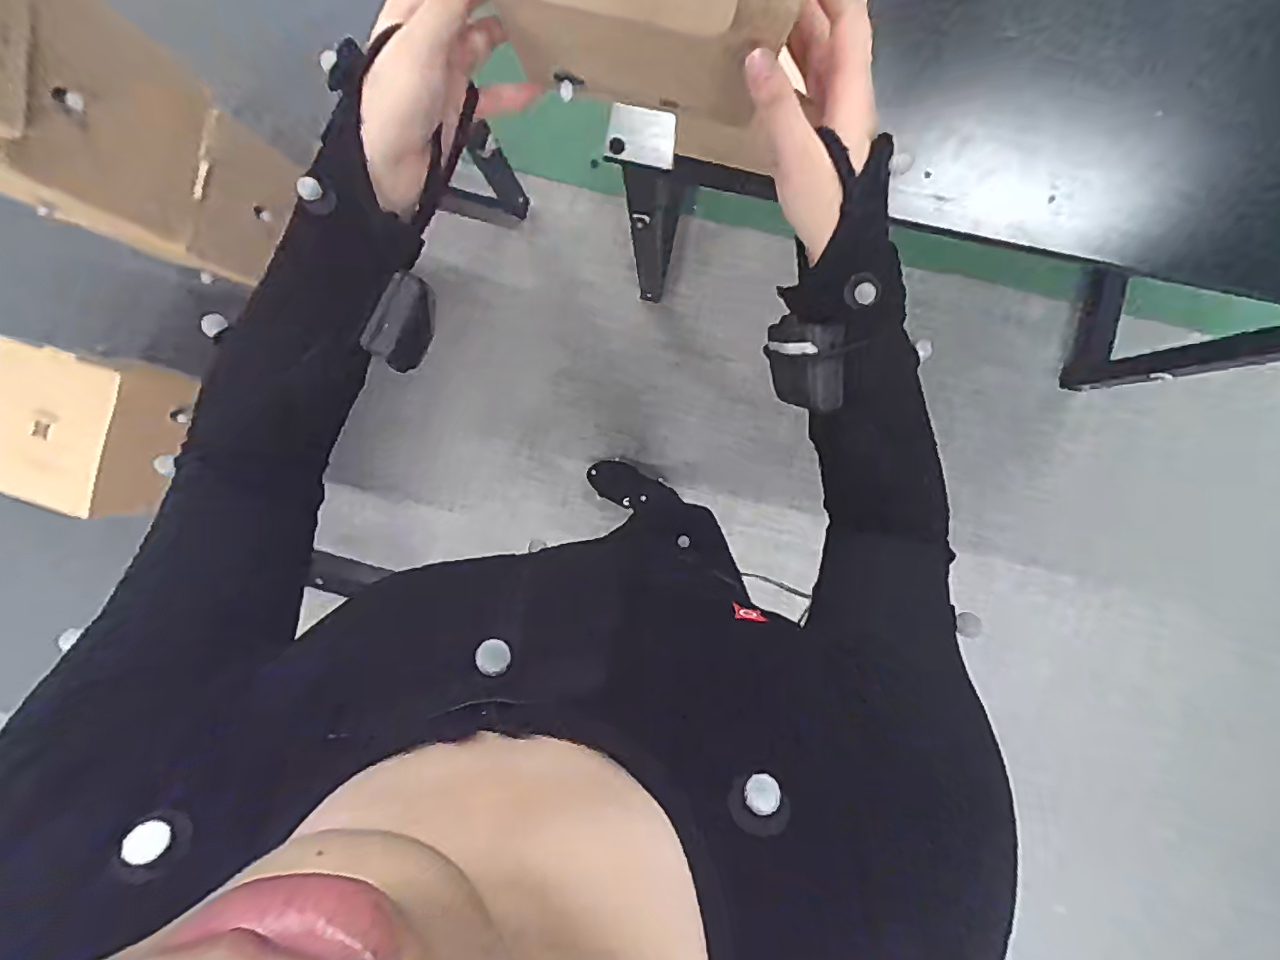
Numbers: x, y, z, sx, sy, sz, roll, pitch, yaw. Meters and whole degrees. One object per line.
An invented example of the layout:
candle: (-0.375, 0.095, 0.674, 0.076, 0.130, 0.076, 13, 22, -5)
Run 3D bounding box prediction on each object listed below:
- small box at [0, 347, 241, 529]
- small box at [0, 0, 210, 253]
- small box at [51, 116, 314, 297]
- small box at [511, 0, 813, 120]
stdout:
small box: (-0.667, -0.052, 0.701, 0.168, 0.176, 0.179, 16, 94, 4)
small box: (-0.564, -0.348, 0.517, 0.168, 0.176, 0.179, 15, 94, 3)
small box: (-0.554, -0.346, 0.680, 0.179, 0.176, 0.168, 17, 94, 3)
small box: (0.022, -0.335, 0.301, 0.168, 0.176, 0.179, 11, 106, -1)
